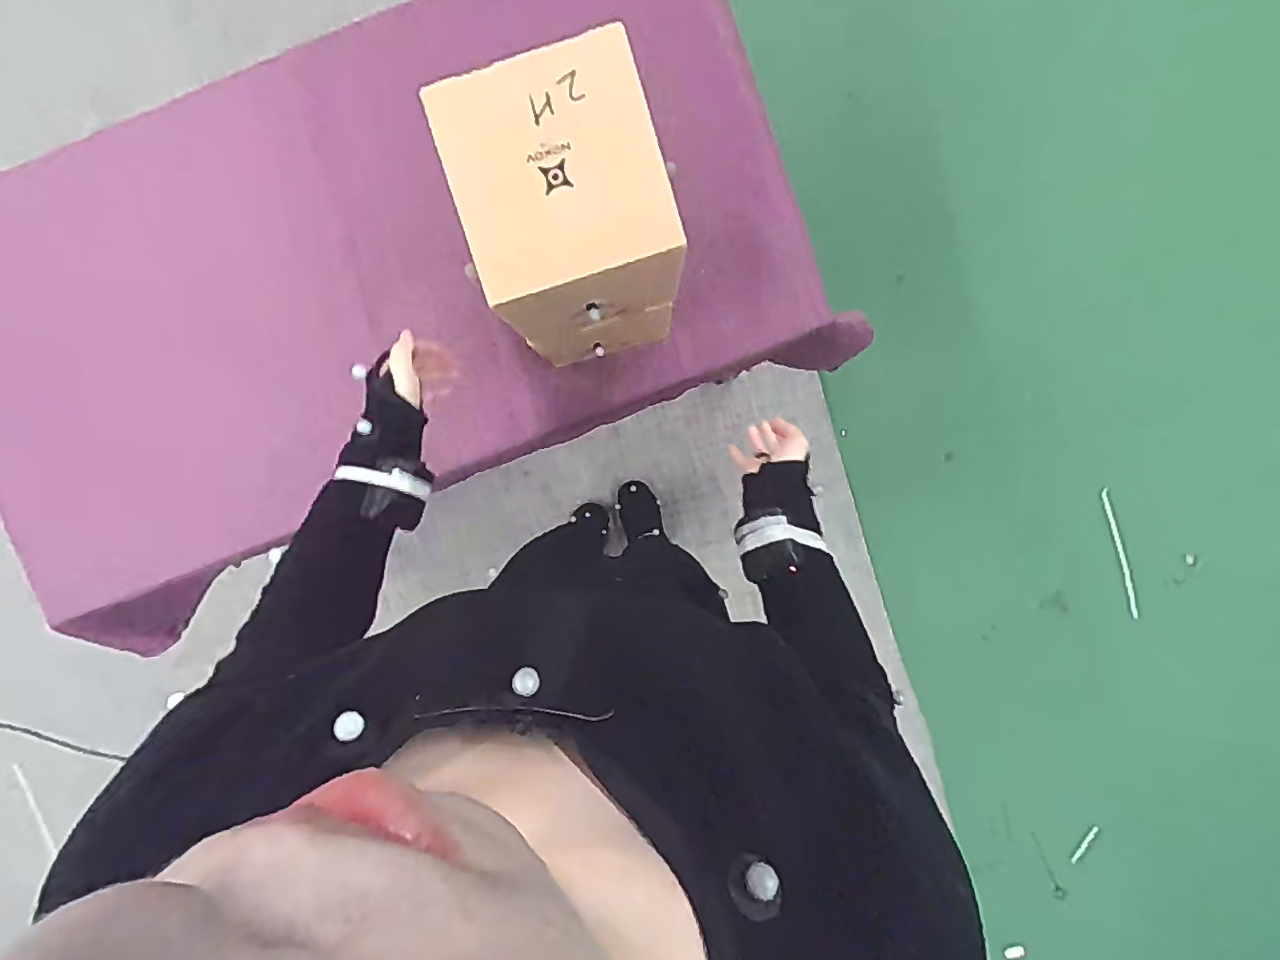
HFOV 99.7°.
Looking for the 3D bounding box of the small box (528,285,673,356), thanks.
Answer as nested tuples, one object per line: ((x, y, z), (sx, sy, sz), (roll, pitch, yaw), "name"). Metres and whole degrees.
((-0.063, -0.268, 0.665), (0.168, 0.176, 0.179), (-16, 94, 2), "small box")

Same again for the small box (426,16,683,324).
((-0.064, -0.256, 0.500), (0.168, 0.176, 0.179), (-16, 93, 1), "small box")
